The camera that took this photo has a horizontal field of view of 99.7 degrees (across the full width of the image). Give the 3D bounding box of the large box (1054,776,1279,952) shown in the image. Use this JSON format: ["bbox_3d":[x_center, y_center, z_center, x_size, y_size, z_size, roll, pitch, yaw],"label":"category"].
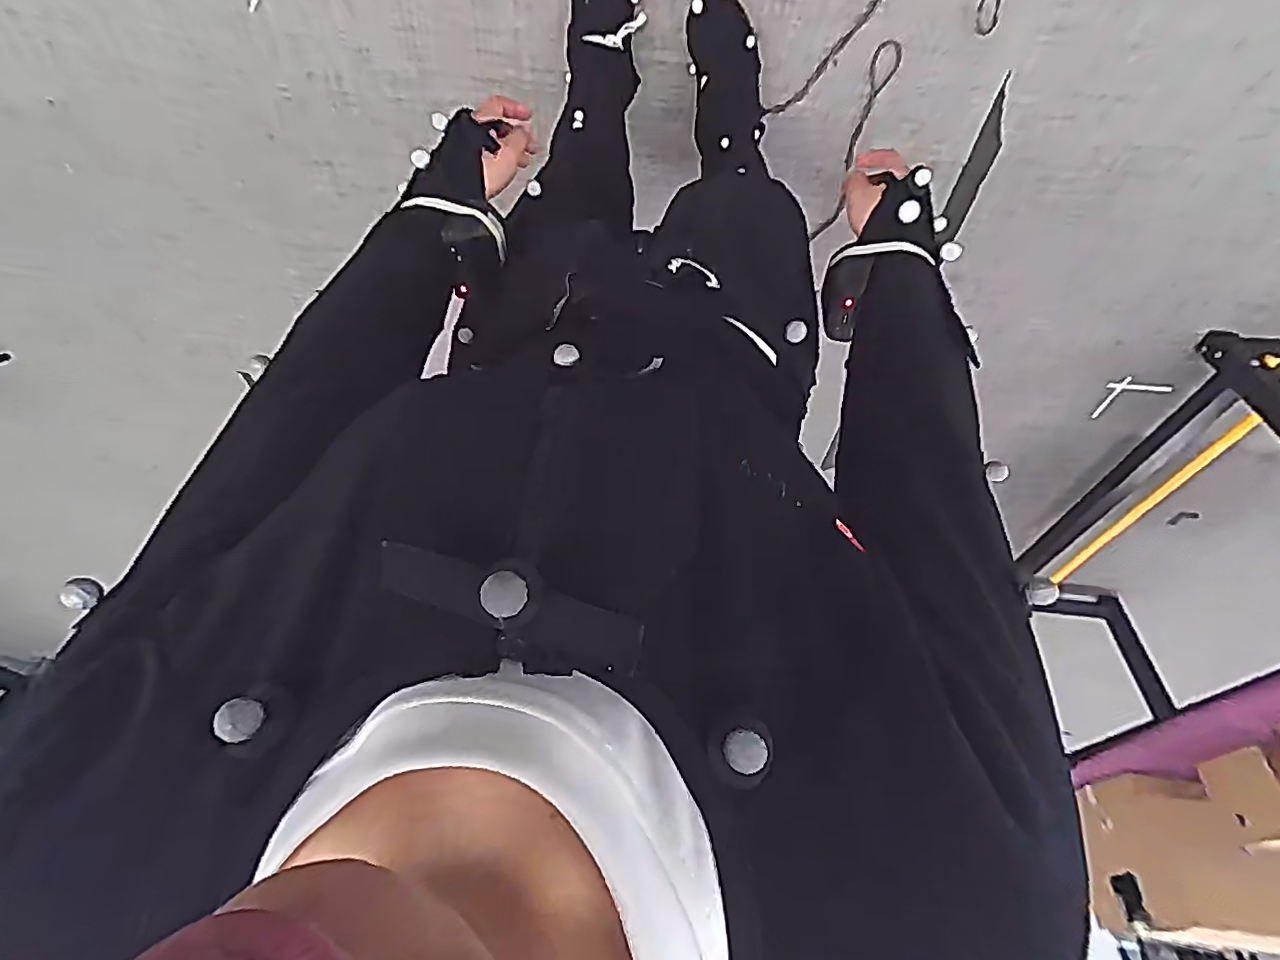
[{"bbox_3d":[1.393,0.967,1.367,0.408,0.320,0.320,5,140,2],"label":"large box"}]
